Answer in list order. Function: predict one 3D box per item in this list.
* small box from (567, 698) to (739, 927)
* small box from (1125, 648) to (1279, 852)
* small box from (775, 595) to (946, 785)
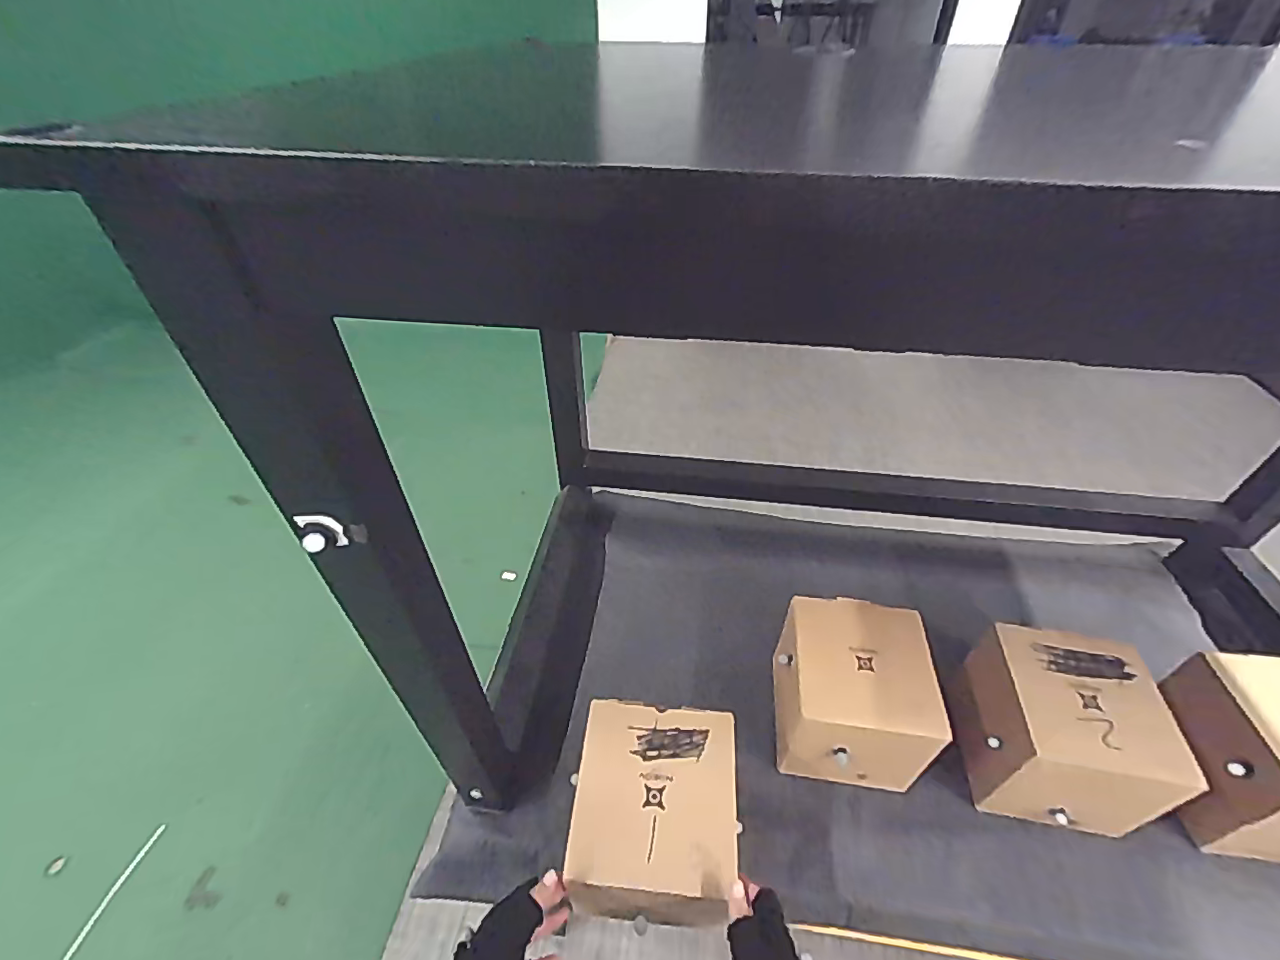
[{"bbox_3d":[0.018,0.377,0.617,0.168,0.176,0.179,4,43,4],"label":"small box"},{"bbox_3d":[0.764,0.335,0.659,0.168,0.176,0.179,5,41,6],"label":"small box"},{"bbox_3d":[0.278,0.282,0.728,0.168,0.176,0.179,5,41,6],"label":"small box"}]
